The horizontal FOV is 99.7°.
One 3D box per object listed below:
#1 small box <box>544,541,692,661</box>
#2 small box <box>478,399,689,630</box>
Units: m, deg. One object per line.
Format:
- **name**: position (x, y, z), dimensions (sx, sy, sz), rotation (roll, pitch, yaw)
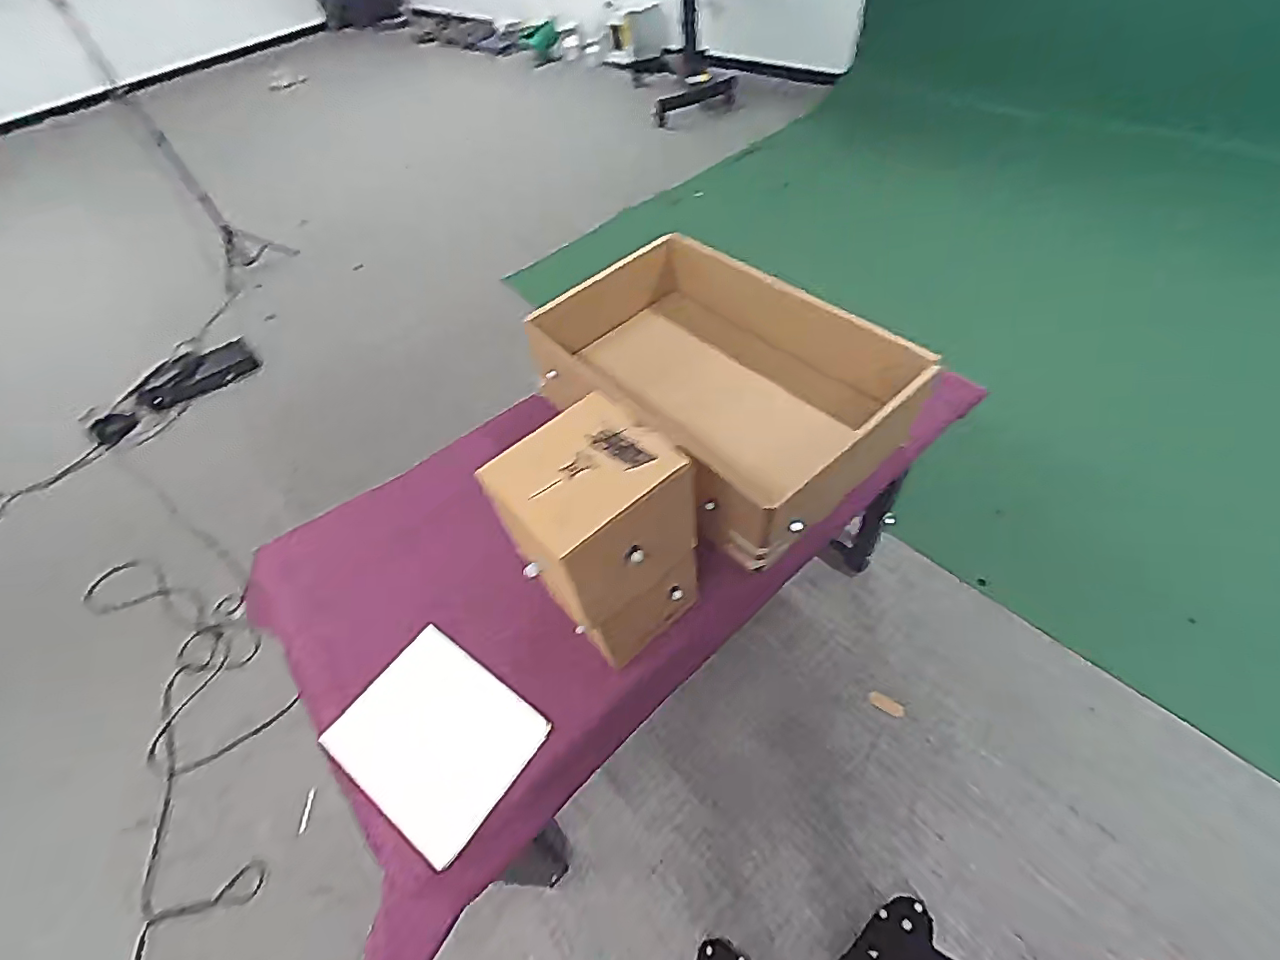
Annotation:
- **small box**: position (-0.039, 0.135, 0.781), dimensions (0.168, 0.176, 0.179), rotation (-37, 54, -20)
- **small box**: position (-0.057, 0.042, 0.647), dimensions (0.179, 0.176, 0.168), rotation (-37, 54, -20)
